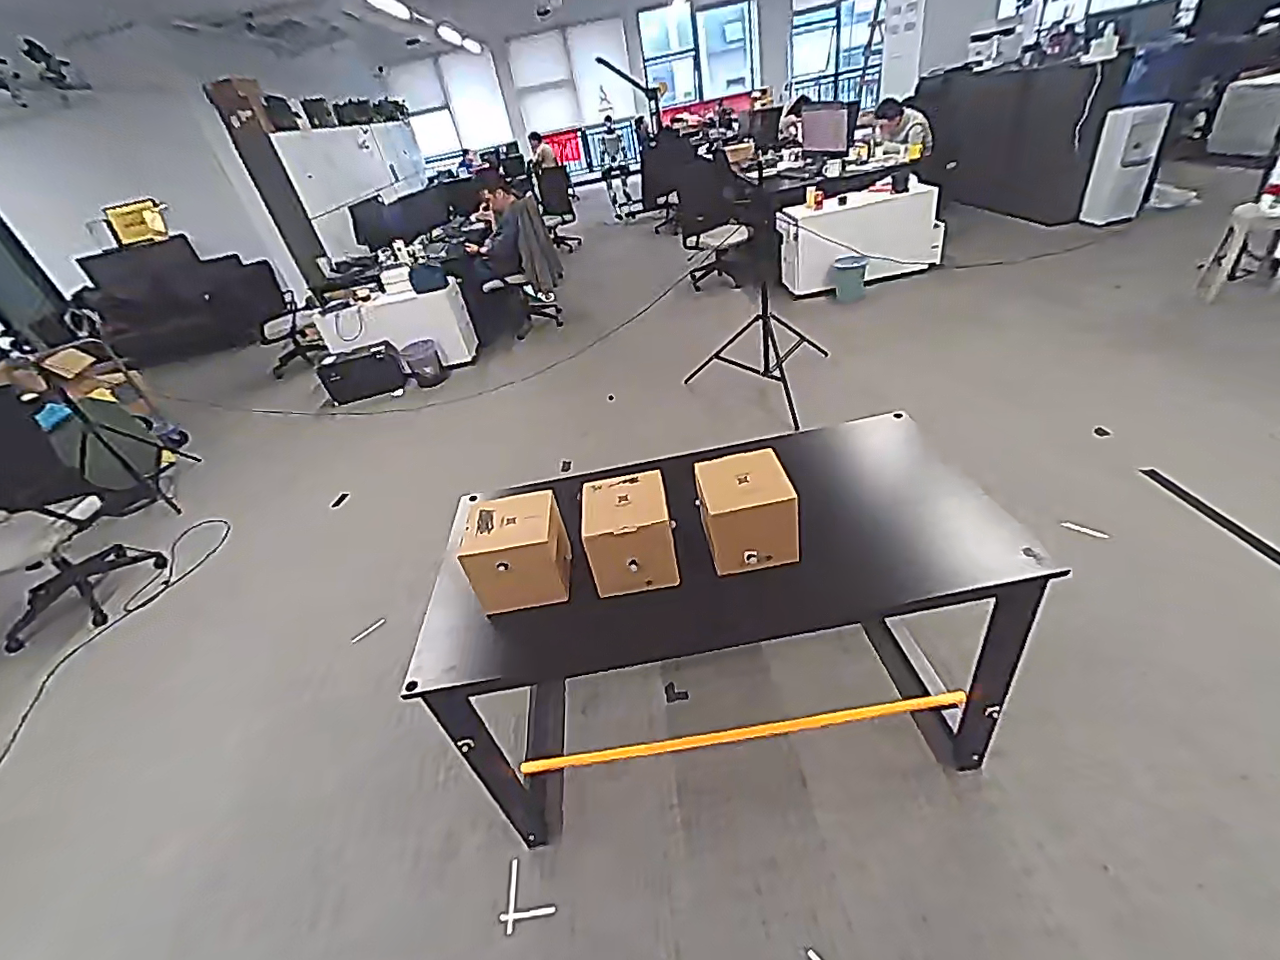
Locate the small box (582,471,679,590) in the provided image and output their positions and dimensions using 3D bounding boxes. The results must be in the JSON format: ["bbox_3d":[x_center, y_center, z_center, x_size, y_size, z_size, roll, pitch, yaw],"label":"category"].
[{"bbox_3d":[-0.018,0.109,1.111,0.168,0.176,0.179,-10,36,3],"label":"small box"}]

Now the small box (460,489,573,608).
[{"bbox_3d":[-0.248,0.146,1.124,0.179,0.176,0.168,-10,36,2],"label":"small box"}]

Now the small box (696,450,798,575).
[{"bbox_3d":[0.216,0.066,1.104,0.168,0.176,0.179,-12,36,2],"label":"small box"}]
